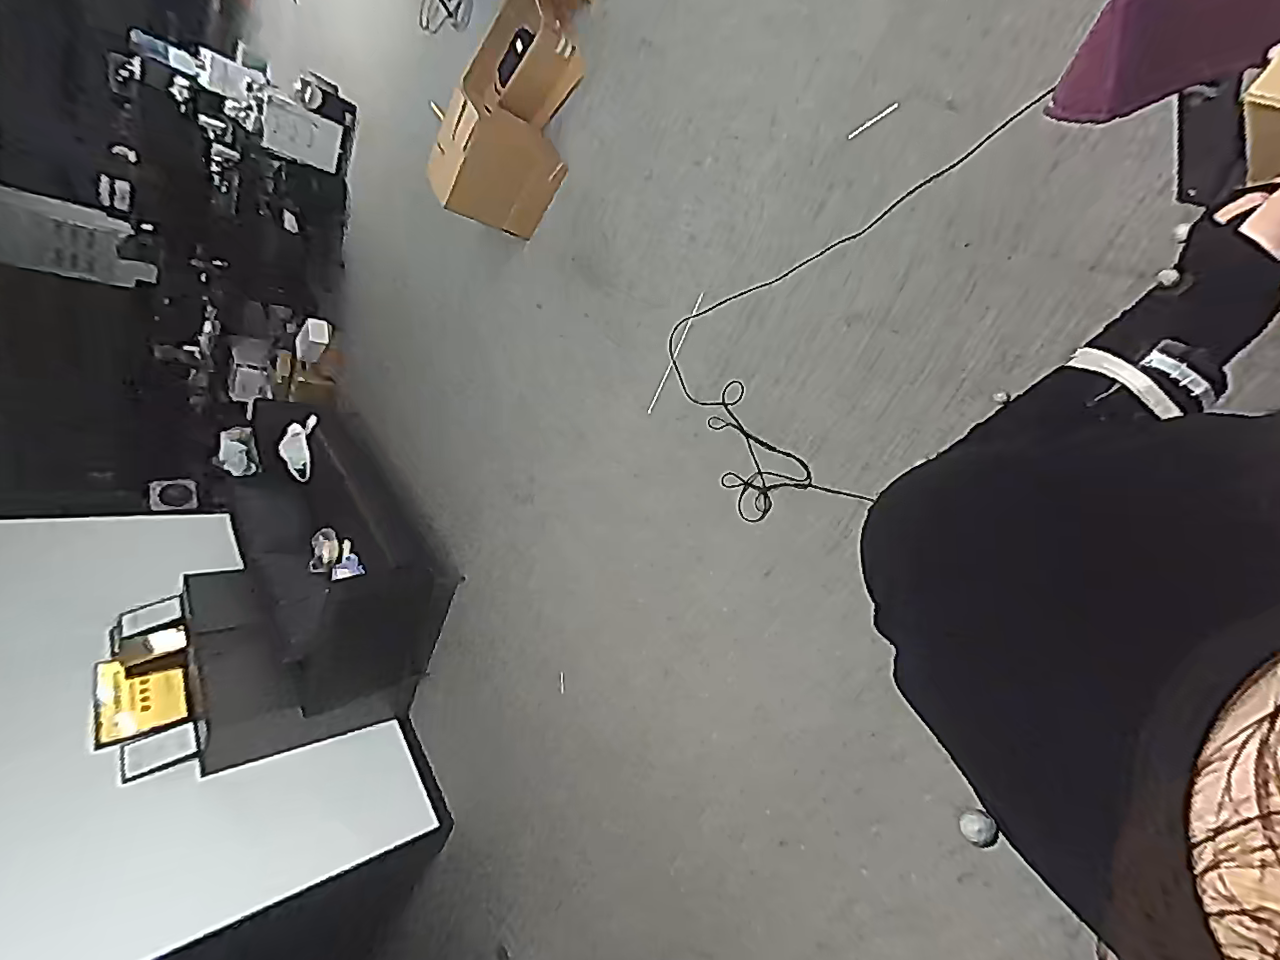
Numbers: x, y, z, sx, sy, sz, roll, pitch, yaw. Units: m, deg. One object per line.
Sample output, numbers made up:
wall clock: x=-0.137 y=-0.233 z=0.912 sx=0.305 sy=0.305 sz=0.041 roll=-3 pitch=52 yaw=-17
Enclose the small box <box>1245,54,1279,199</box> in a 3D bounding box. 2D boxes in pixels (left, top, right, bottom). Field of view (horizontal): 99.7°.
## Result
small box: x=0.565 y=-0.282 z=0.352 sx=0.168 sy=0.176 sz=0.179 roll=52 pitch=127 yaw=36
